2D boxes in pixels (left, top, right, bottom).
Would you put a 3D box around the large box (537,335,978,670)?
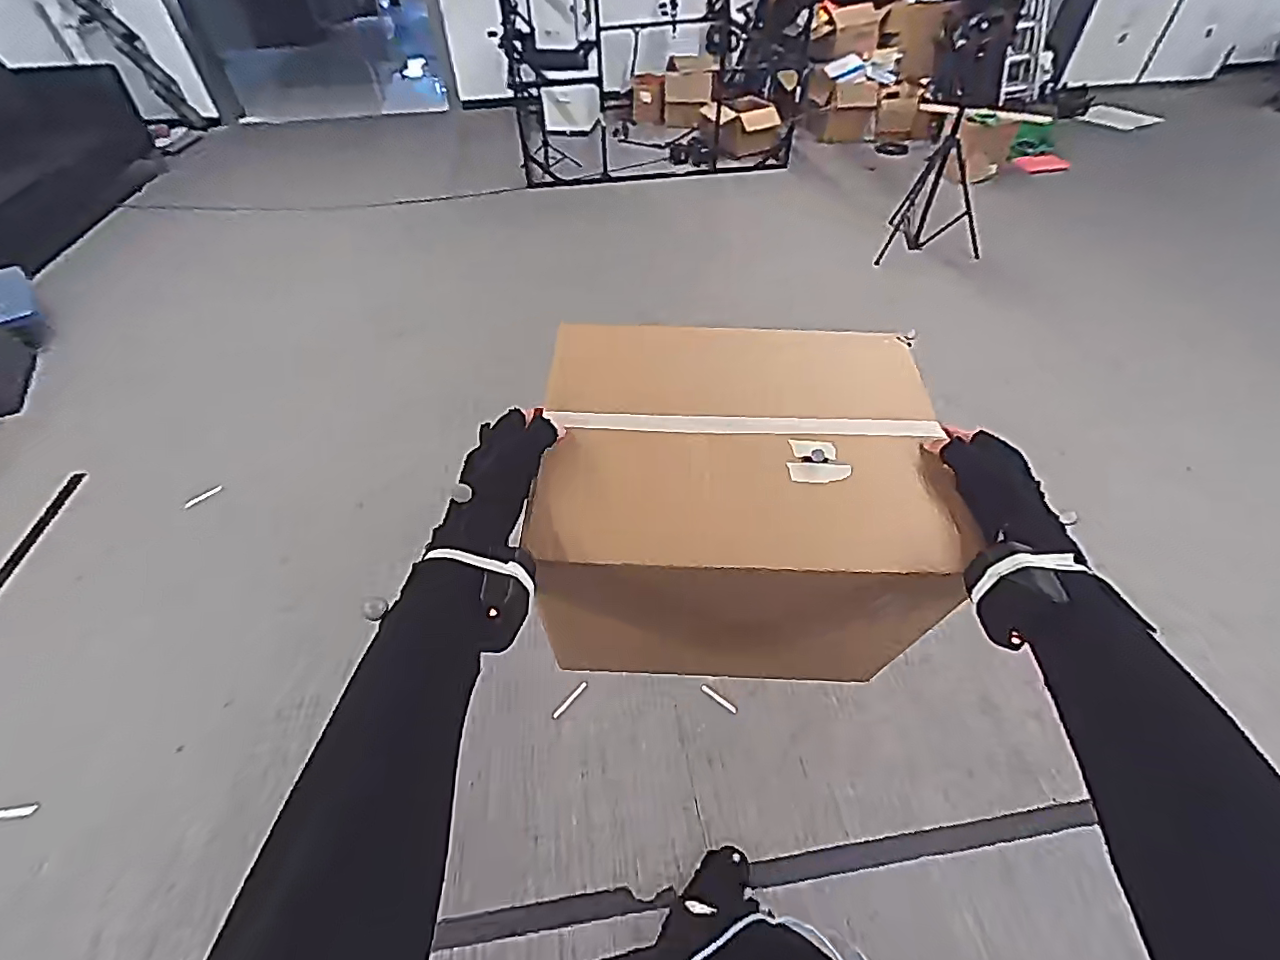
[{"bbox_3d":[0.104,0.039,0.685,0.408,0.320,0.320,2,55,1],"label":"large box"}]
